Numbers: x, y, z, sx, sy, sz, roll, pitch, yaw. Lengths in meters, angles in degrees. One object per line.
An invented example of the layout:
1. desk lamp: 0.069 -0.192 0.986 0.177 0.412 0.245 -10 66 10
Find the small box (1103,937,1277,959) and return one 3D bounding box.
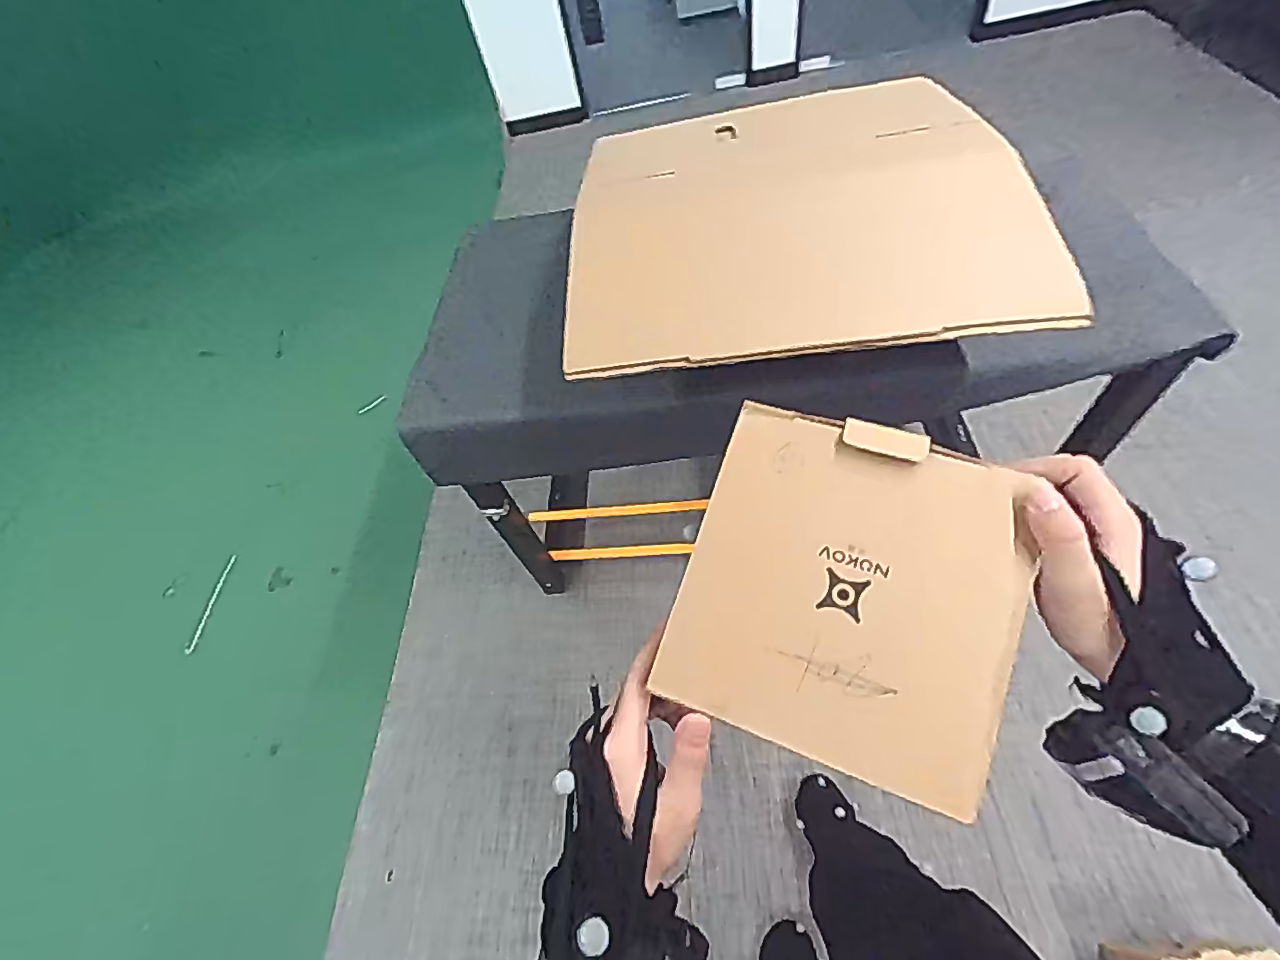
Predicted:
1. small box: 0.863 0.810 0.813 0.168 0.176 0.179 -10 53 5
